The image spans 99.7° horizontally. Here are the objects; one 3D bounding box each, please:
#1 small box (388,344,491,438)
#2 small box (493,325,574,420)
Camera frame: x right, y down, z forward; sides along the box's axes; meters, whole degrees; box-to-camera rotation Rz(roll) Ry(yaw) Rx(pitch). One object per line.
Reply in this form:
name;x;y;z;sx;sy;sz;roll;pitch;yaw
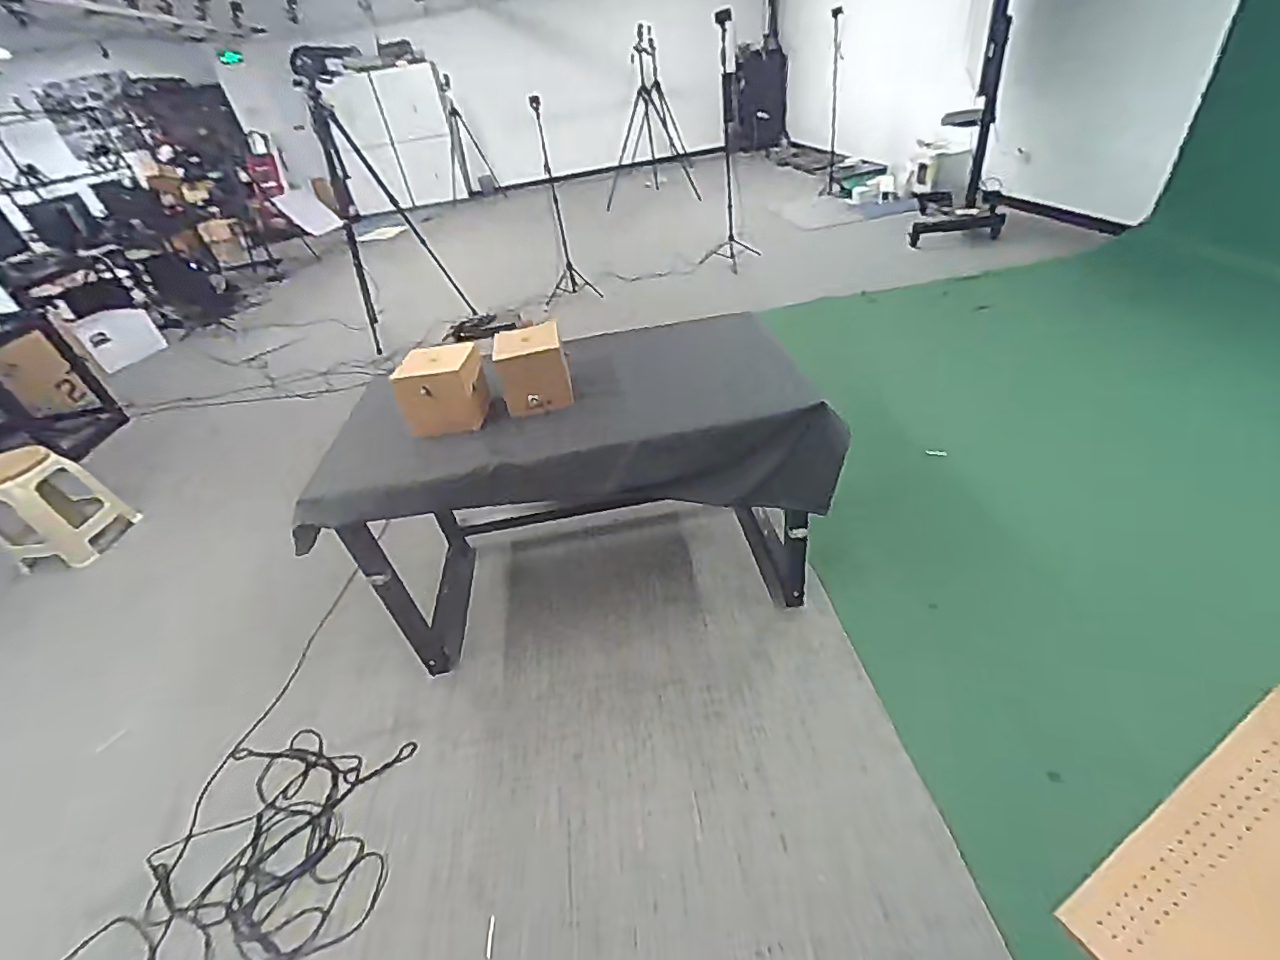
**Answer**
small box;-0.494;-0.223;1.368;0.179;0.176;0.168;-6;37;5
small box;-0.272;-0.277;1.393;0.168;0.176;0.179;-13;37;-4
